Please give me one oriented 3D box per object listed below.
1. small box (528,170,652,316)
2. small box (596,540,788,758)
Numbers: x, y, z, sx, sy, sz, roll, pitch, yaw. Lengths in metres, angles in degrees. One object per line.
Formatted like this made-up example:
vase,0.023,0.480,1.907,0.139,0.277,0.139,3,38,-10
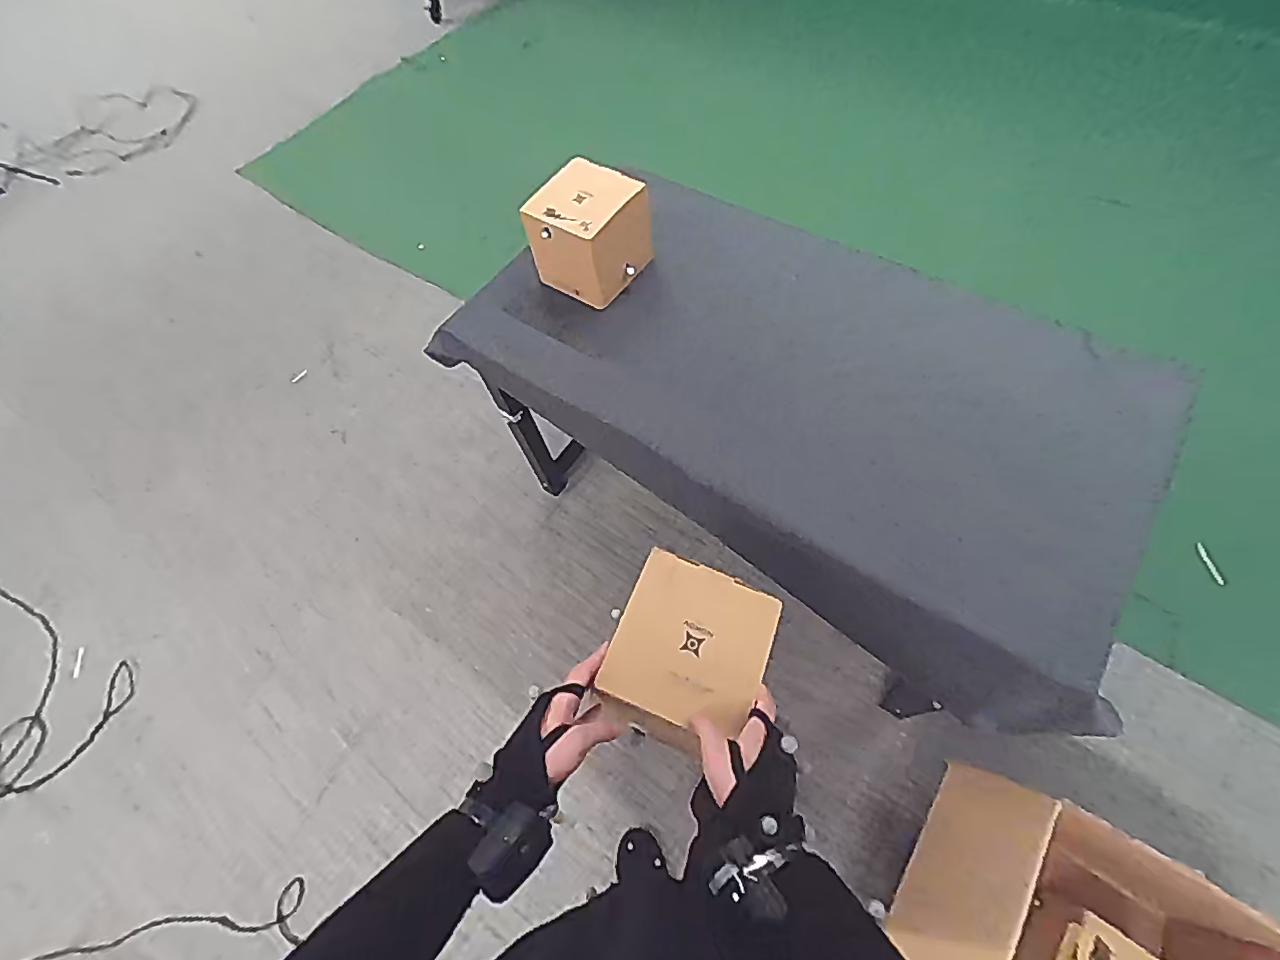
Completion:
small box,-0.089,-0.461,1.063,0.168,0.176,0.179,31,68,19
small box,0.053,0.205,0.642,0.168,0.176,0.179,22,59,6
